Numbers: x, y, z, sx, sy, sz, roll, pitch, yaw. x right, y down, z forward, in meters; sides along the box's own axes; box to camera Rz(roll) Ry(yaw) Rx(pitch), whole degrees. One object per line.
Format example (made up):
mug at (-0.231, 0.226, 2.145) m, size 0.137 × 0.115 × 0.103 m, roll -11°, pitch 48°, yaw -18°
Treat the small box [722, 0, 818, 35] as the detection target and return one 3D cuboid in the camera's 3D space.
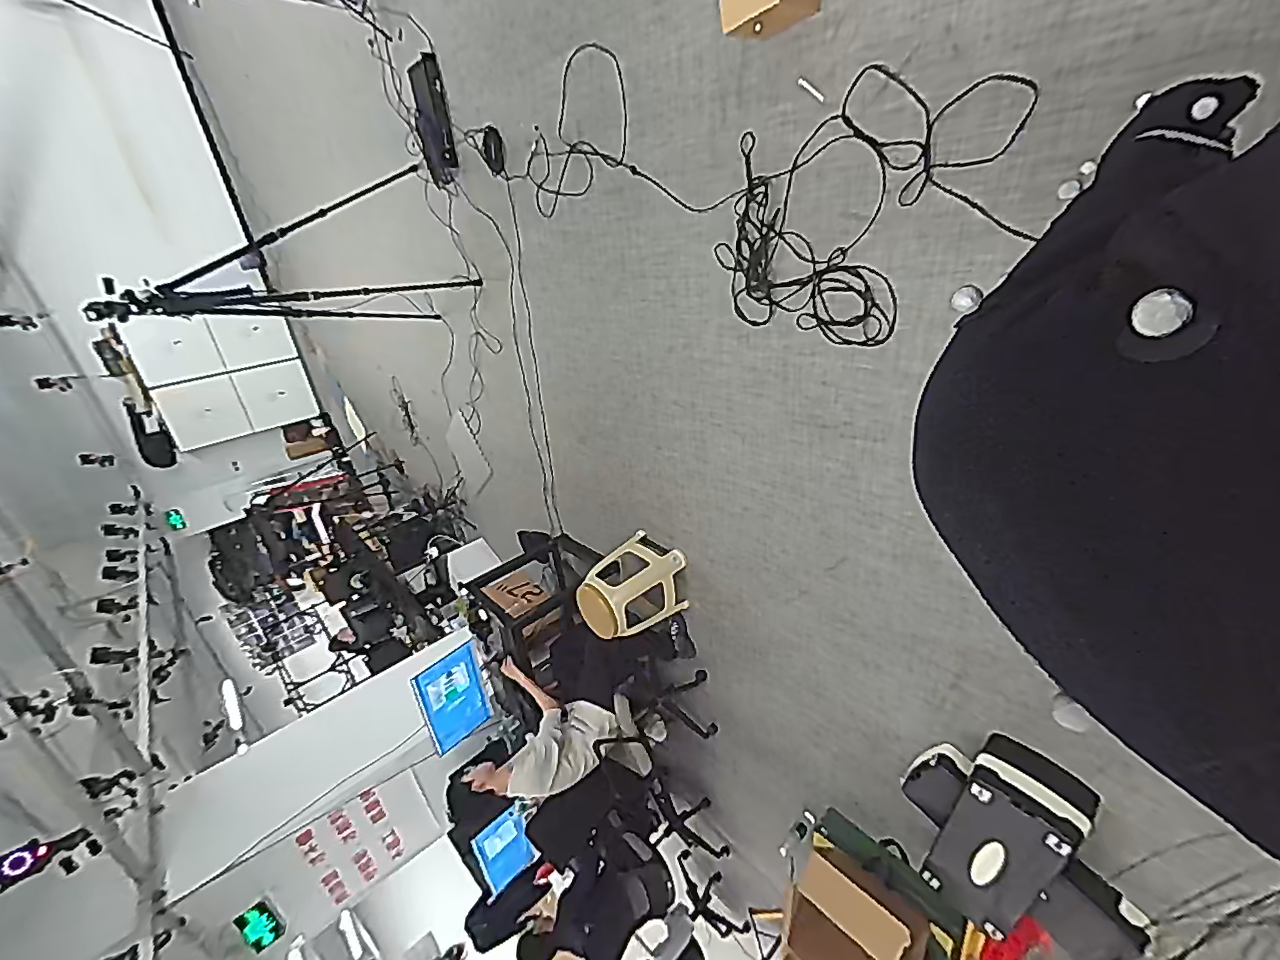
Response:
small box at (0.313, -1.216, 1.310) m, size 0.179 × 0.176 × 0.168 m, roll 14°, pitch 123°, yaw 48°
